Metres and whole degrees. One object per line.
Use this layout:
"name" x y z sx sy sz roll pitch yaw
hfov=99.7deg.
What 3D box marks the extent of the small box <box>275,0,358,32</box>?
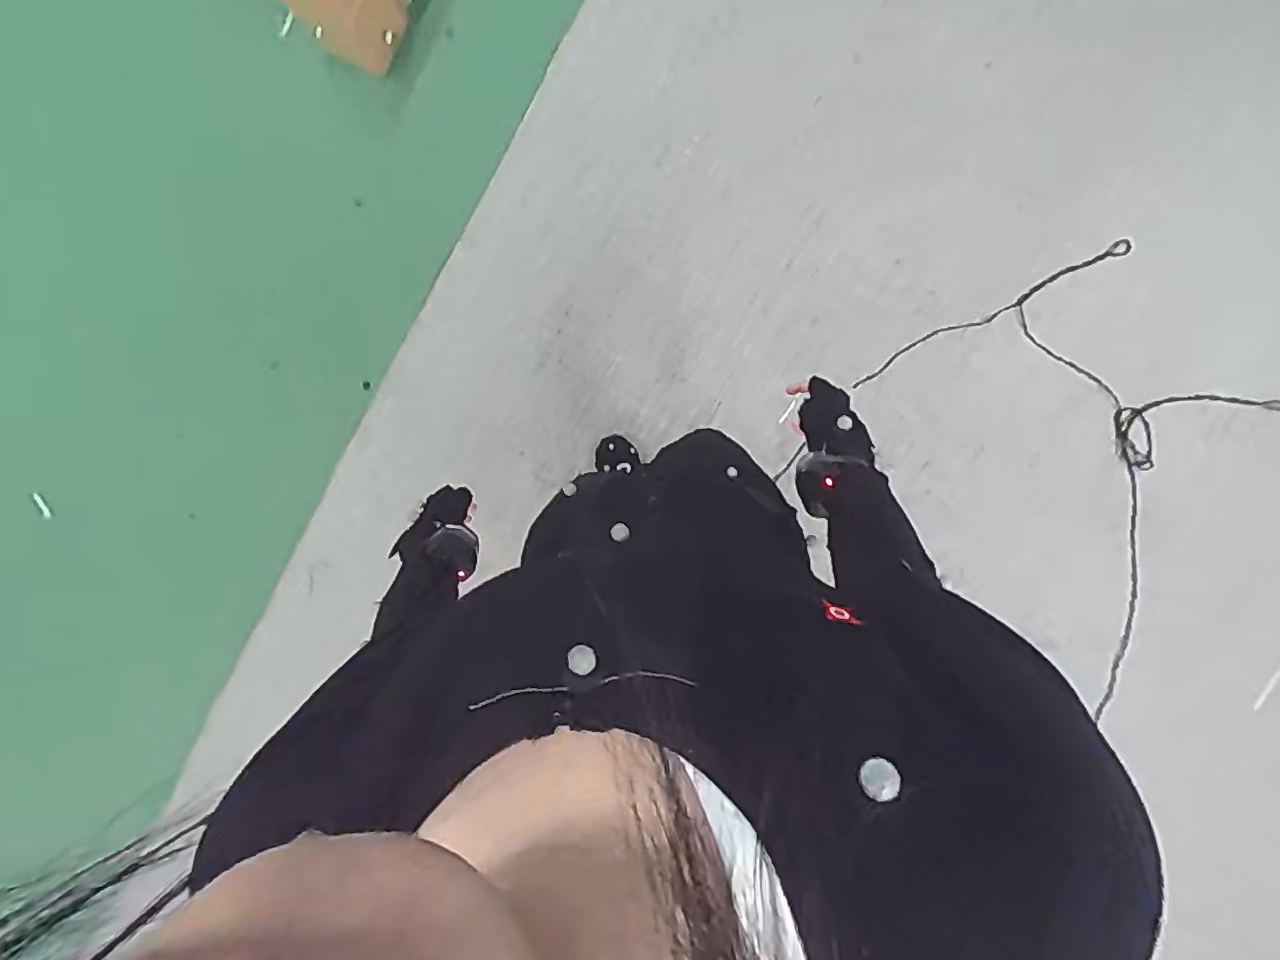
"small box" -0.733 -1.130 1.166 0.179 0.176 0.168 26 95 -1
